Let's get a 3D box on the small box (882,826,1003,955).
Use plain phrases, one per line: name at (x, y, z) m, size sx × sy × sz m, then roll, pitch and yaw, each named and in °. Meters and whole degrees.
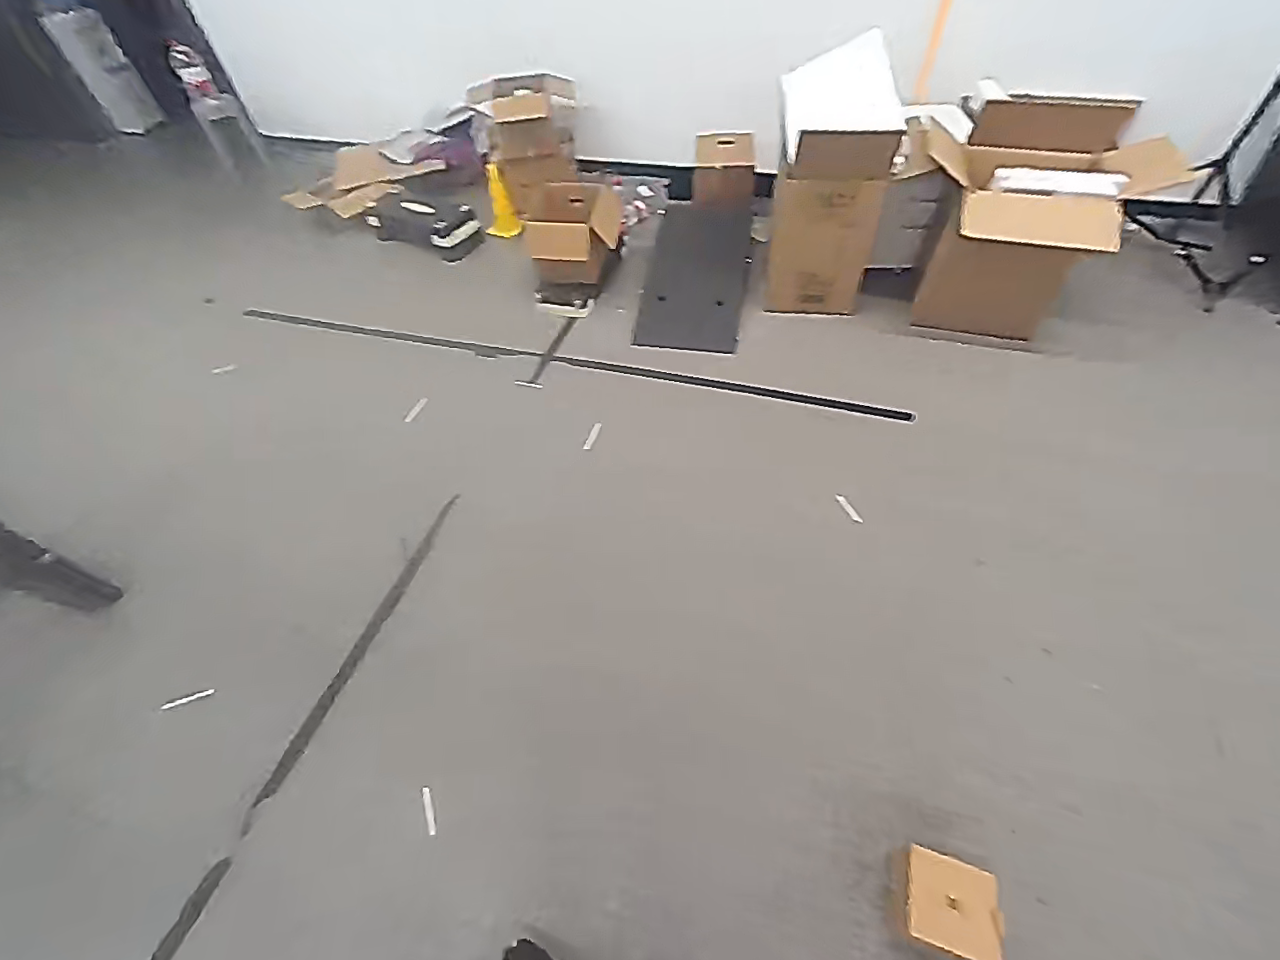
small box at (0.641, 0.870, 1.156) m, size 0.179 × 0.176 × 0.168 m, roll 15°, pitch 53°, yaw 14°
